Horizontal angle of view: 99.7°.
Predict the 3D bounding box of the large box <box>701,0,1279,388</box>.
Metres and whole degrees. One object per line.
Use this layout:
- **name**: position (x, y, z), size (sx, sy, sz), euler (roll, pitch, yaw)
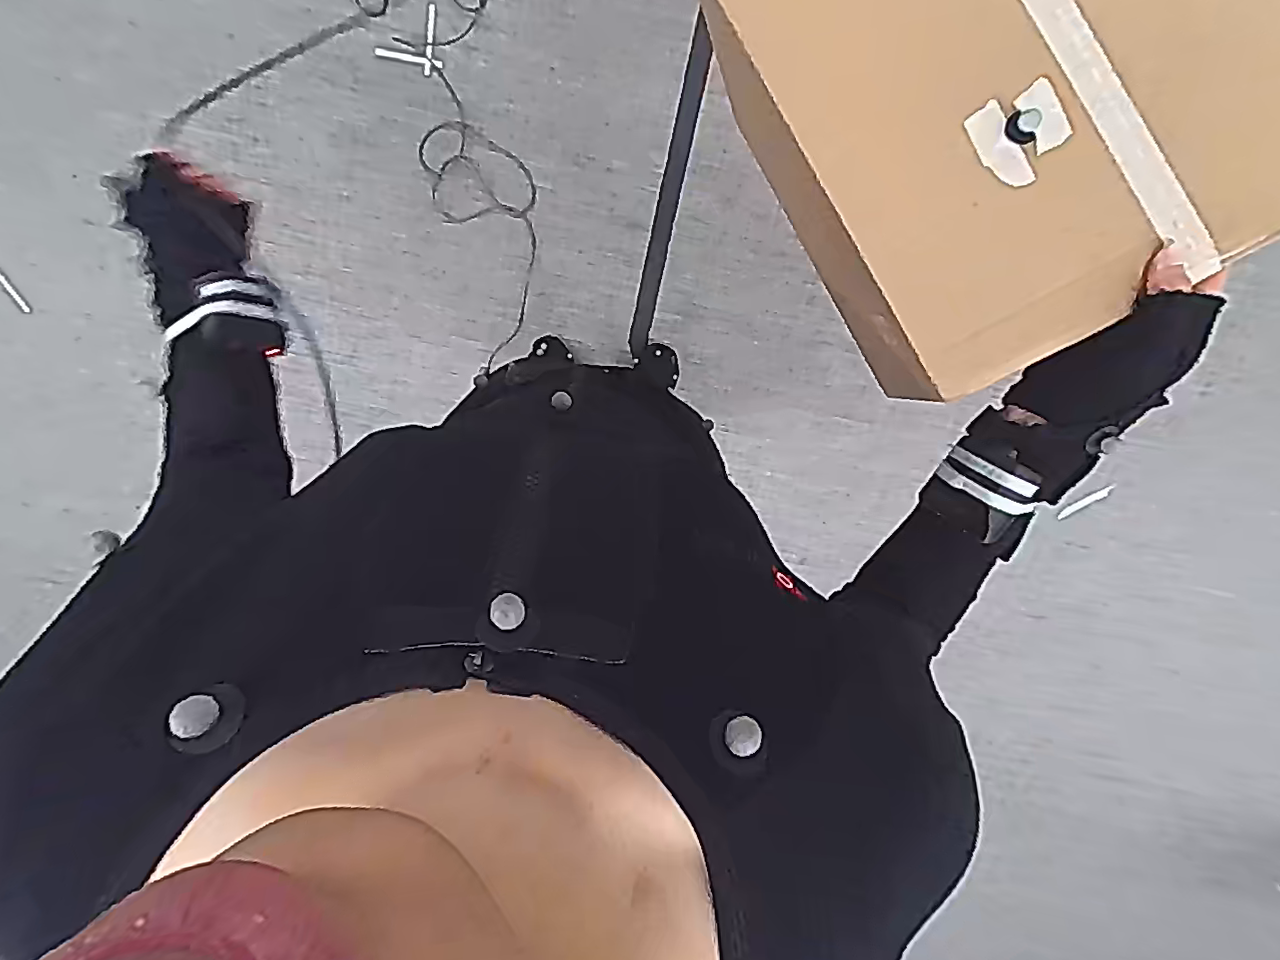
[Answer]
- **large box**: position (0.296, -0.333, 0.493), size (0.320, 0.320, 0.408), euler (-29, 89, 20)
